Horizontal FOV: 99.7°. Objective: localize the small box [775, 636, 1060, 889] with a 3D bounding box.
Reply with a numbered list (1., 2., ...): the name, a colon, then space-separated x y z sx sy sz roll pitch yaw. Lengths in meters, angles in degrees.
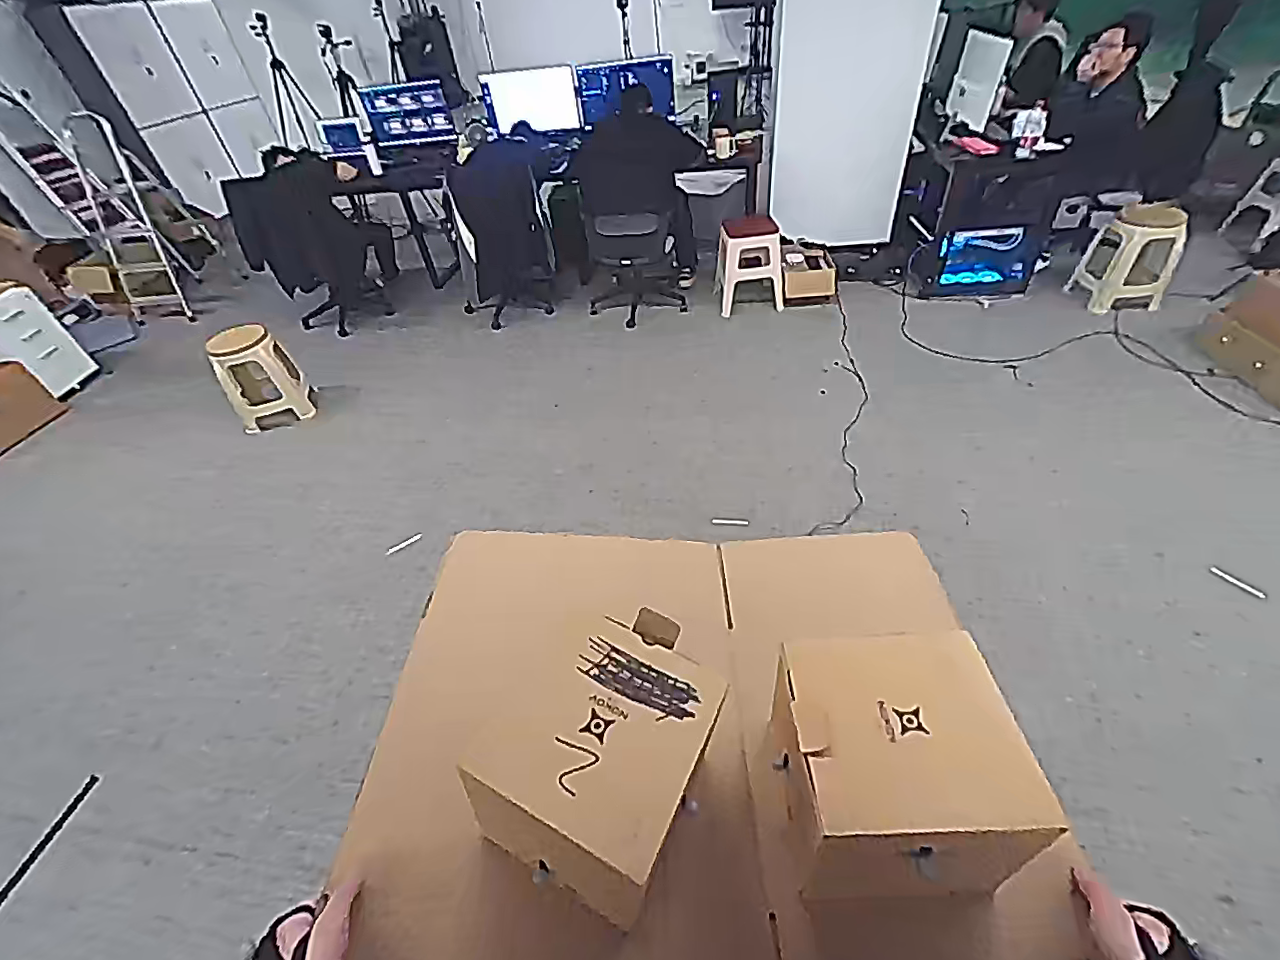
1. small box: 0.234 0.269 0.515 0.179 0.176 0.168 -5 41 4
